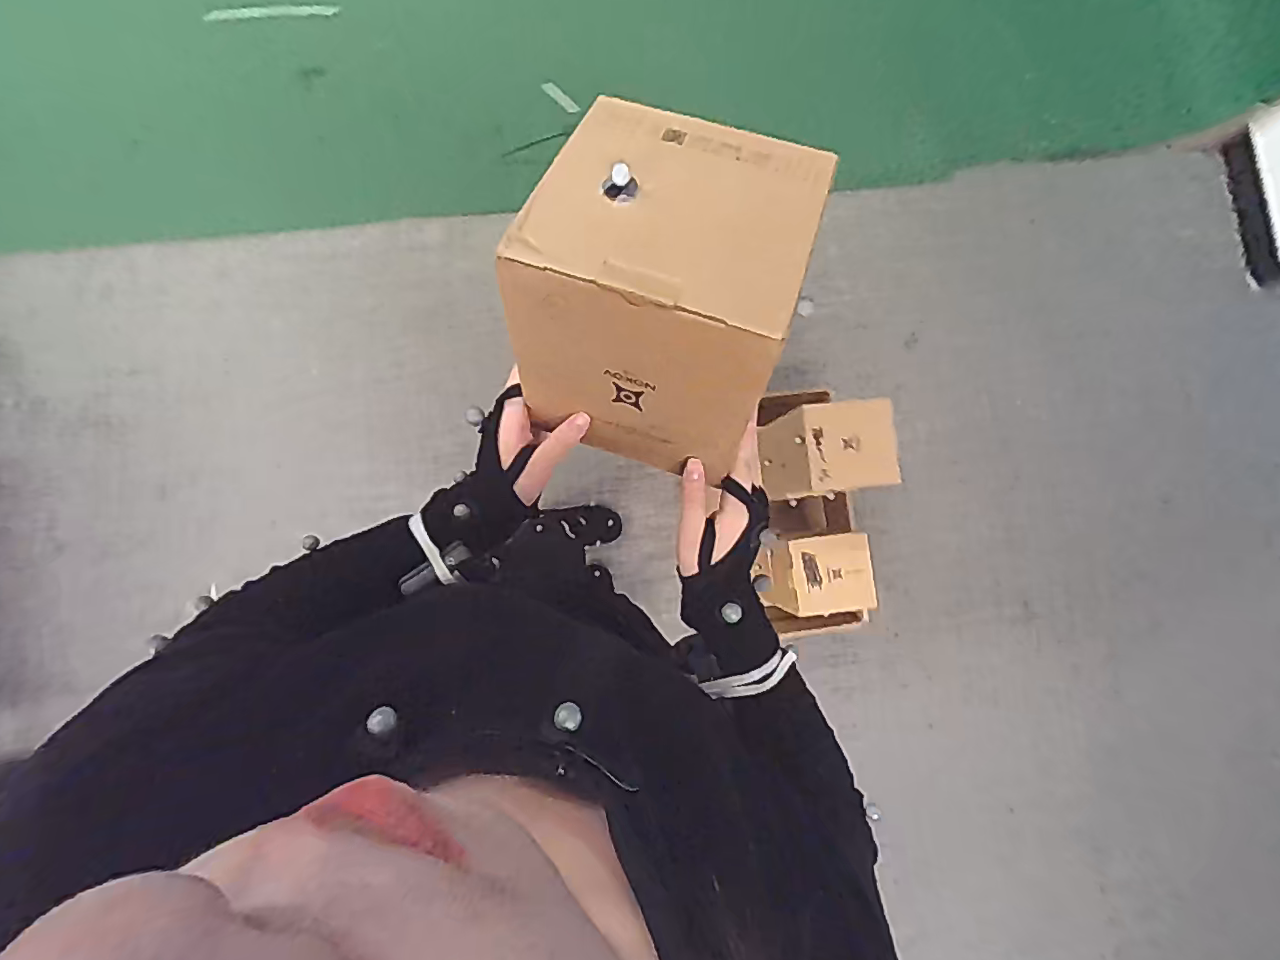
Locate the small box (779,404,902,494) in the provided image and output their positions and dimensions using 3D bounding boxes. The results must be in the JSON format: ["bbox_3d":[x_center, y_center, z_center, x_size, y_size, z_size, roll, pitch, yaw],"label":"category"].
[{"bbox_3d":[0.399,-0.057,1.097,0.179,0.176,0.168,-4,87,-4],"label":"small box"}]

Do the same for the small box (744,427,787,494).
[{"bbox_3d":[0.375,-0.048,1.425,0.179,0.176,0.168,-2,88,-4],"label":"small box"}]

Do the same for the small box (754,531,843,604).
[{"bbox_3d":[0.403,0.223,1.407,0.179,0.176,0.168,-6,86,-3],"label":"small box"}]

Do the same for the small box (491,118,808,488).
[{"bbox_3d":[0.013,-0.125,0.401,0.168,0.179,0.176,18,64,6],"label":"small box"}]
